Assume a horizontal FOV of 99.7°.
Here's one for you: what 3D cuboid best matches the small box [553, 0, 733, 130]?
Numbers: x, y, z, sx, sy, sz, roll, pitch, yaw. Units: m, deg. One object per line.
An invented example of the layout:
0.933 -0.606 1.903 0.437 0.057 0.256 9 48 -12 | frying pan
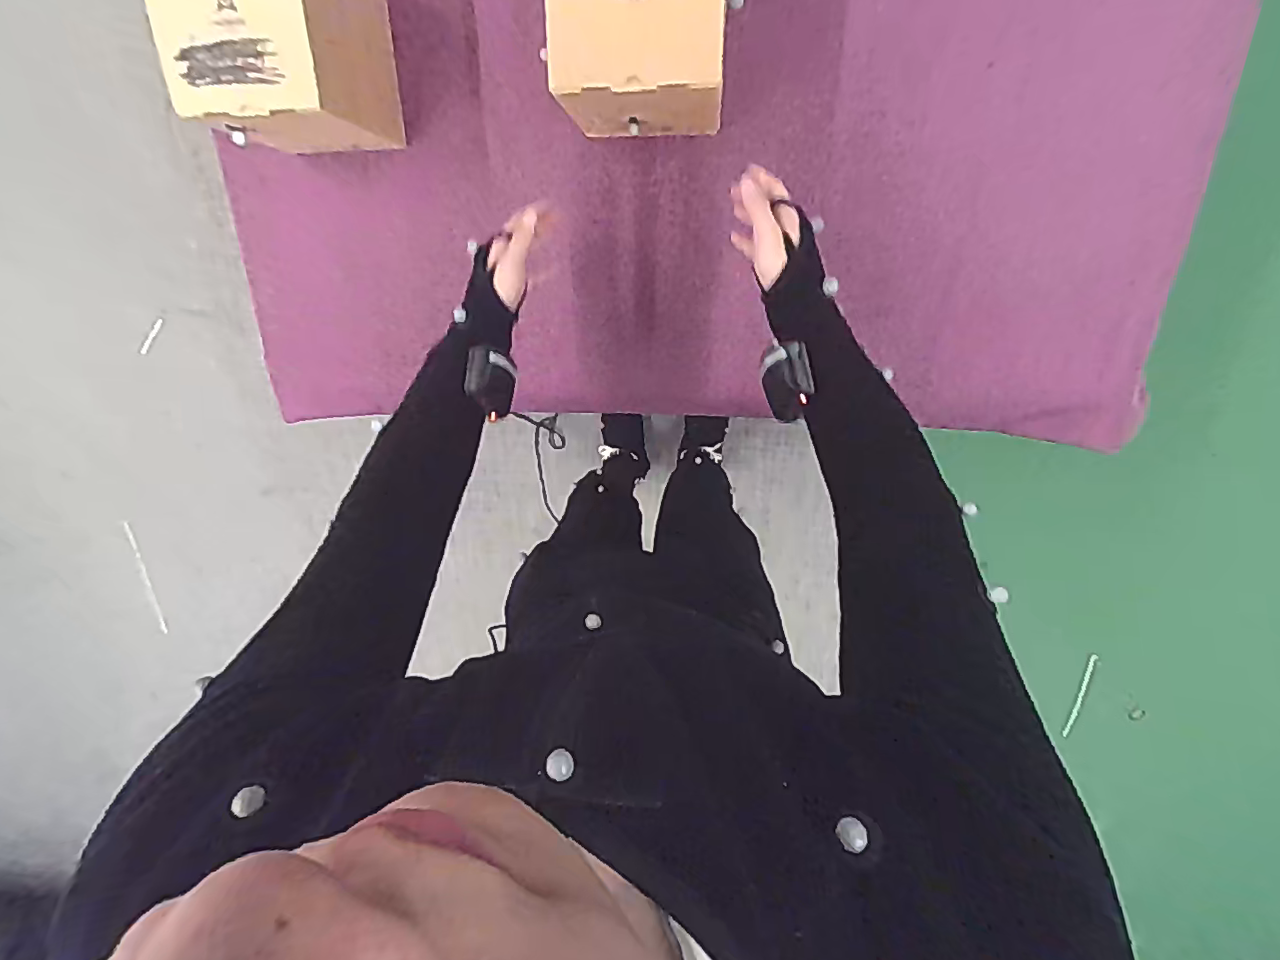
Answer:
0.009 -0.480 0.552 0.168 0.176 0.179 2 112 6 | small box
